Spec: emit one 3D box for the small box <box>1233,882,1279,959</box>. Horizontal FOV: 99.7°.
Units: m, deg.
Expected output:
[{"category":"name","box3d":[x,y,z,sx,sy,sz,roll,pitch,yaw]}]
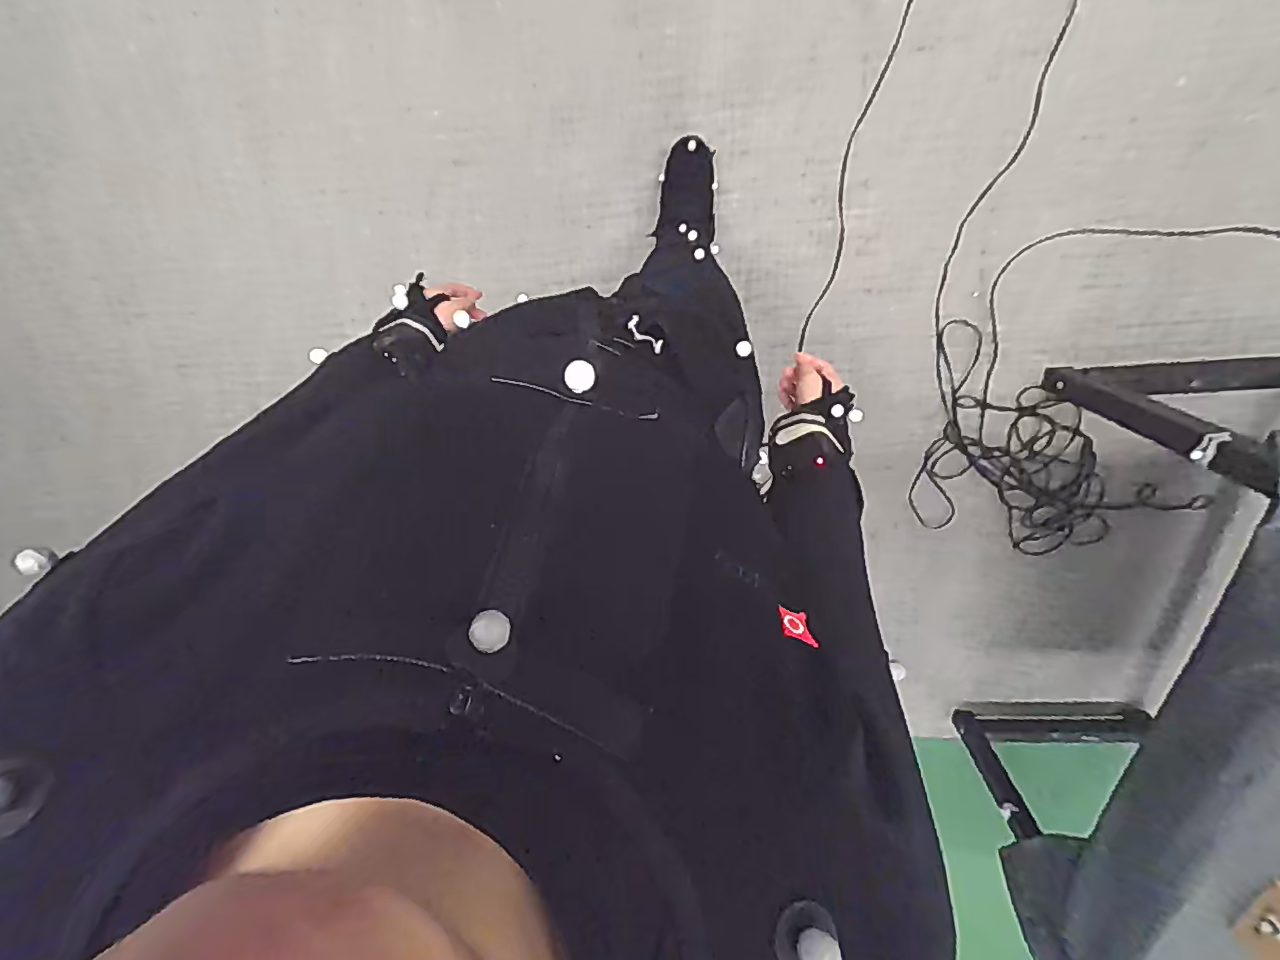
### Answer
[{"category":"small box","box3d":[1.099,0.743,0.823,0.179,0.176,0.168,-1,116,5]}]
